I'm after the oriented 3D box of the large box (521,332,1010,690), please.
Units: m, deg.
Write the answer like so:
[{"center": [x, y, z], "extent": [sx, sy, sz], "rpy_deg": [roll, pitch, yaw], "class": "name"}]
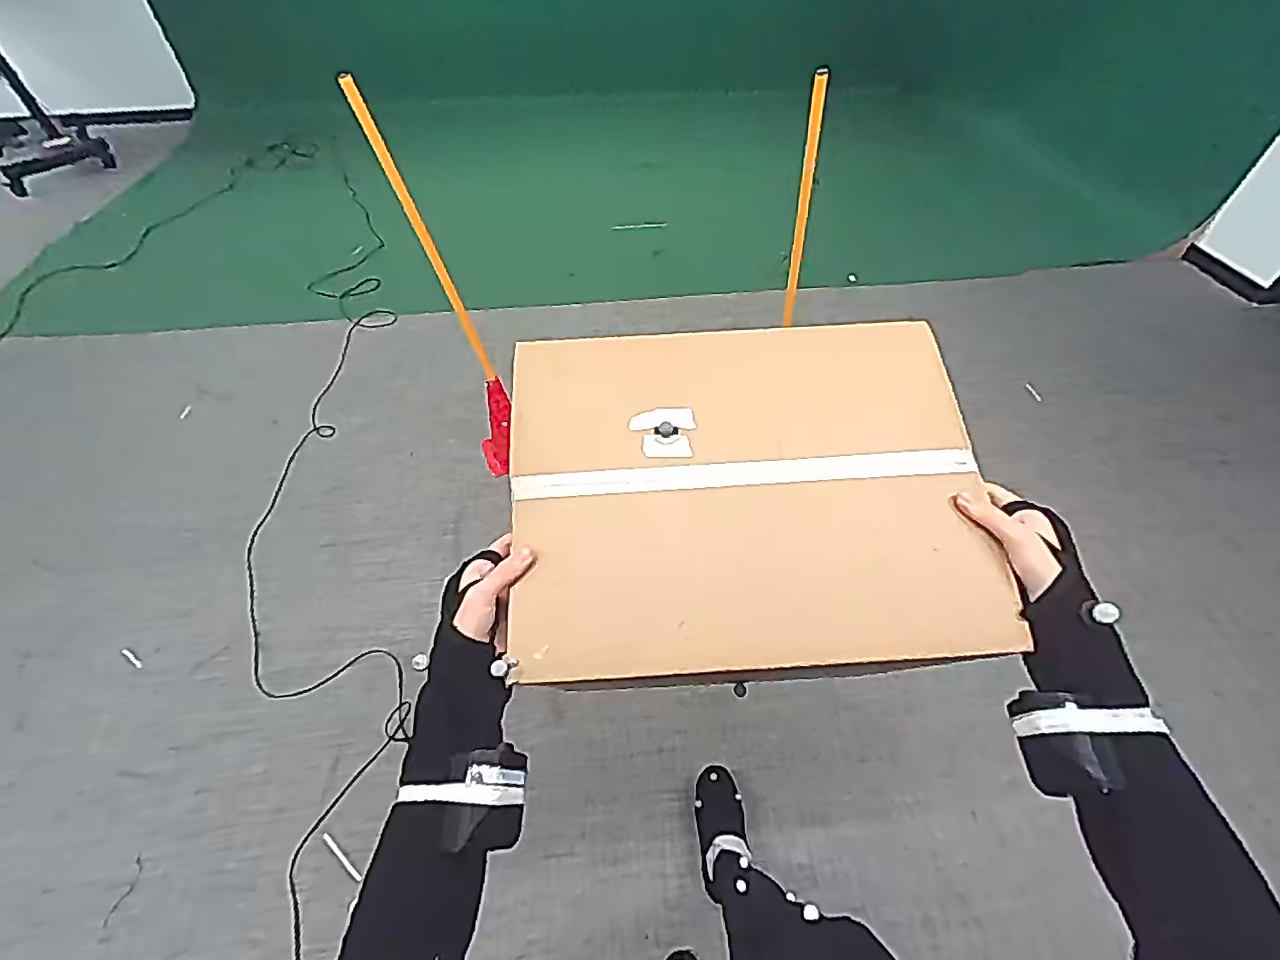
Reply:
[{"center": [0.097, 0.062, 0.627], "extent": [0.408, 0.320, 0.320], "rpy_deg": [-4, 66, 0], "class": "large box"}]
